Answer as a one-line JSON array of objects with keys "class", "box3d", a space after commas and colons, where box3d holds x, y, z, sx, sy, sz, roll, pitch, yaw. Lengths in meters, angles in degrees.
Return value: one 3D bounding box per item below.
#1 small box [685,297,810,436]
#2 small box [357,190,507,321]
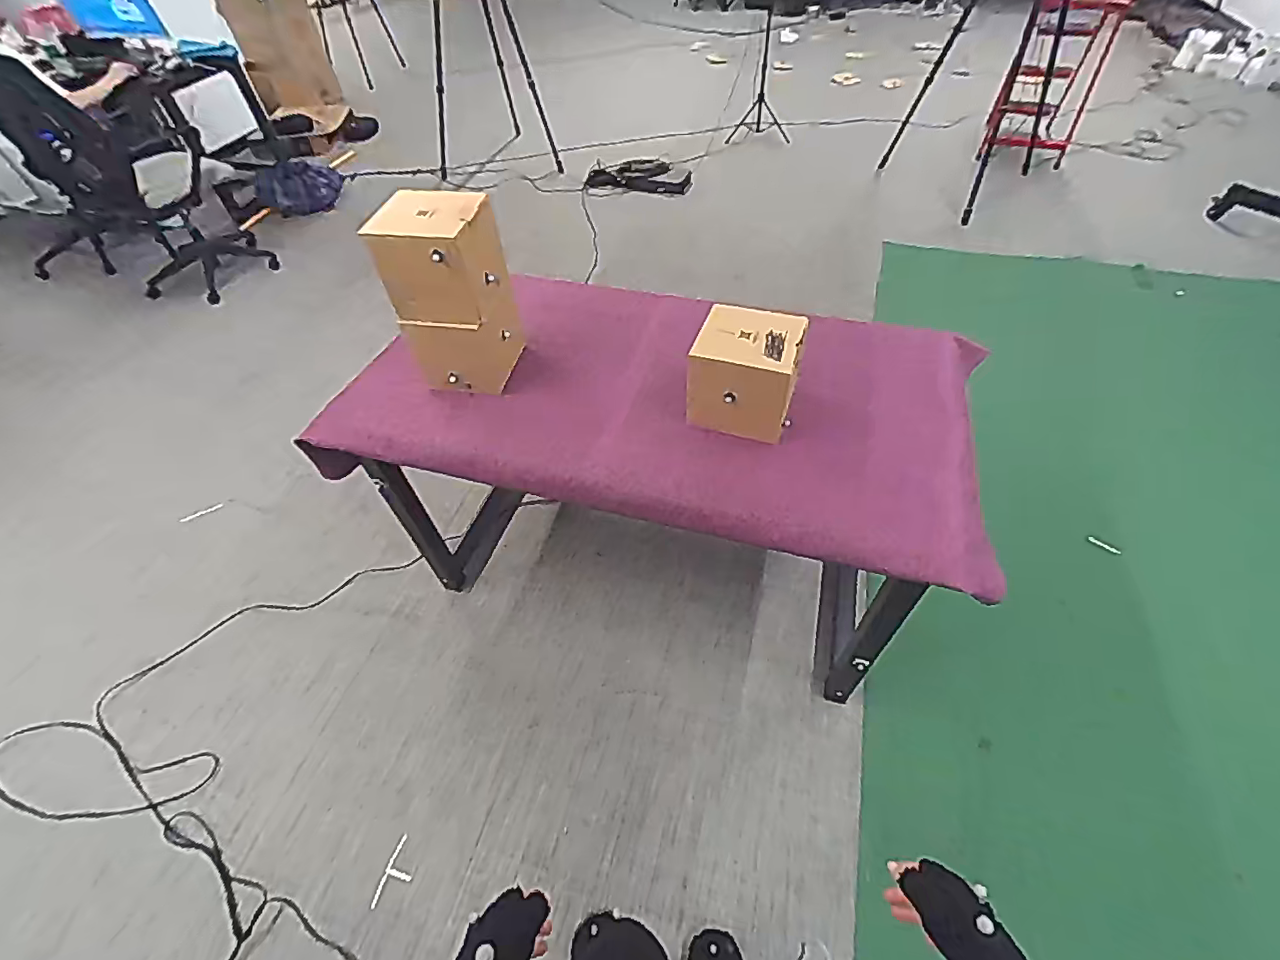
[{"class": "small box", "box3d": [0.192, -0.205, 0.992, 0.179, 0.176, 0.168, 17, 52, 17]}, {"class": "small box", "box3d": [-0.367, -0.409, 0.991, 0.179, 0.176, 0.168, 5, 52, 8]}]
